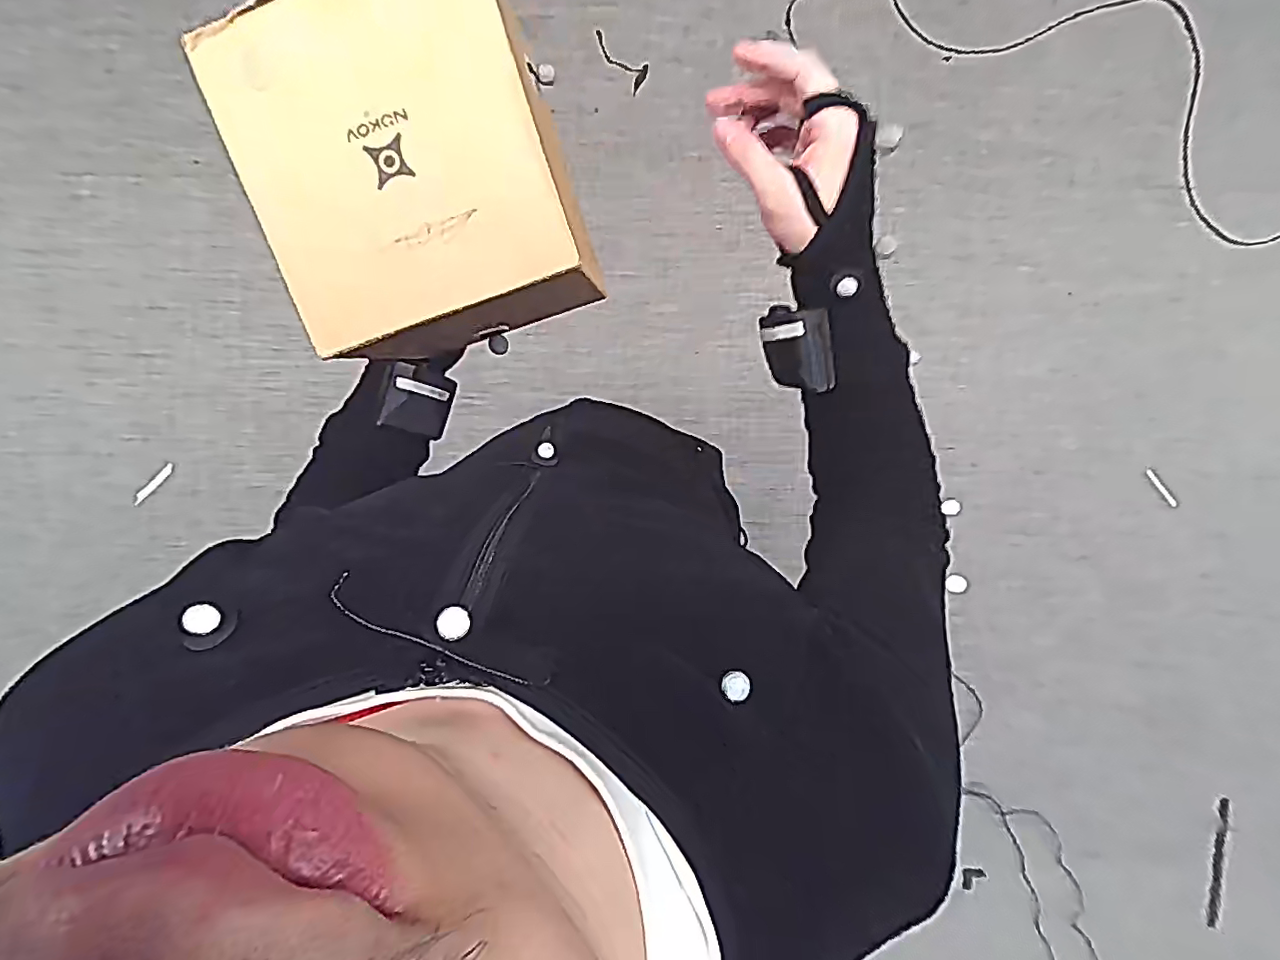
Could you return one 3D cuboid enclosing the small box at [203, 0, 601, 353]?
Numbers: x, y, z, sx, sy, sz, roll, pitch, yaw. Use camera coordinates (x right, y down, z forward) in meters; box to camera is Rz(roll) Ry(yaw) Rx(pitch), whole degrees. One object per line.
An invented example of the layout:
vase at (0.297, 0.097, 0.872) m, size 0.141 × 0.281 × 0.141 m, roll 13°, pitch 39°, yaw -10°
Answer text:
small box at (-0.134, -0.196, 0.381) m, size 0.168 × 0.176 × 0.179 m, roll -17°, pitch 102°, yaw 6°
